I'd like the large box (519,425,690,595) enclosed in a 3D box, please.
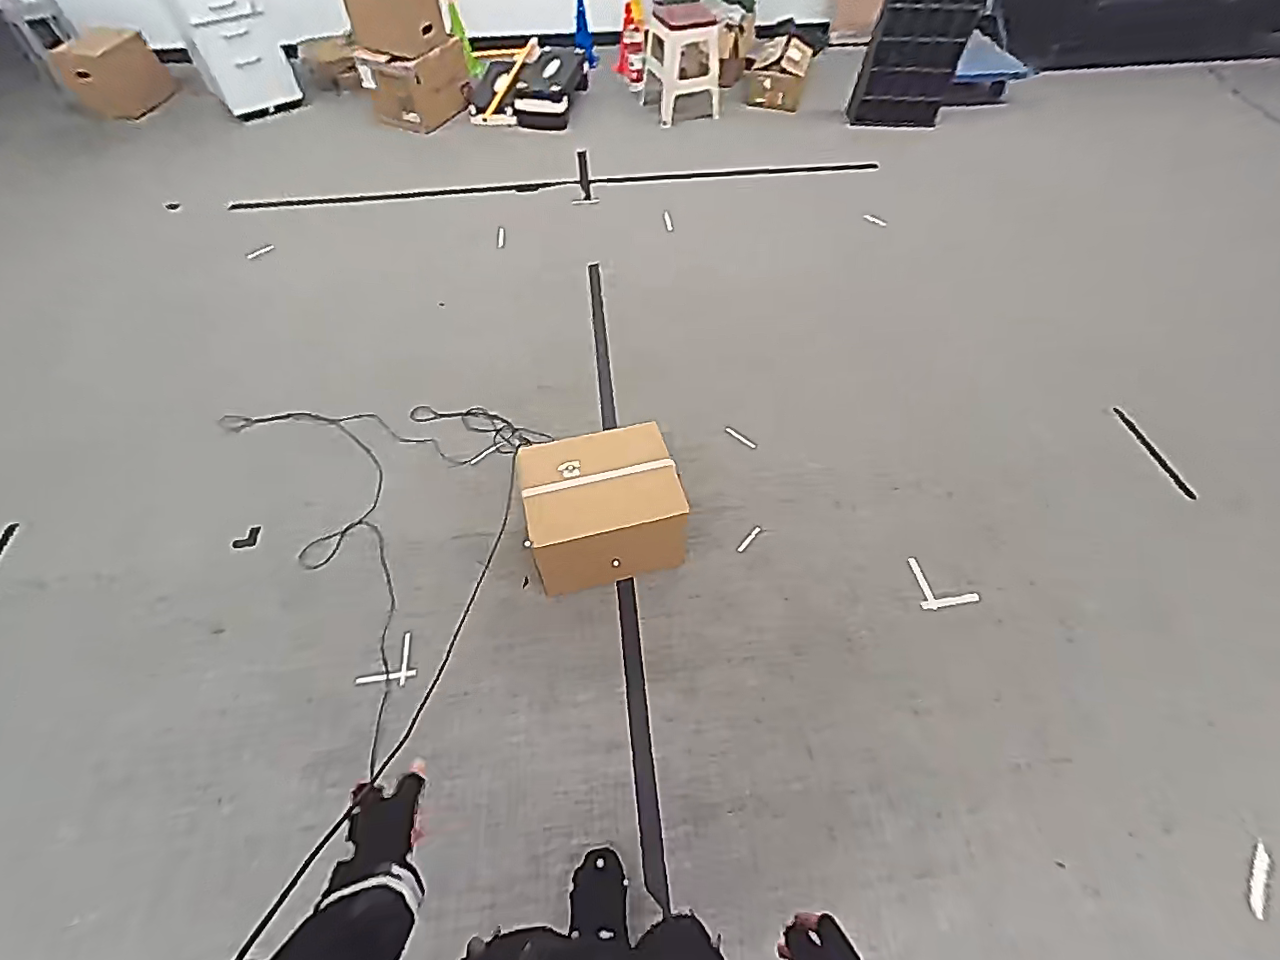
[{"bbox_3d":[-0.100,0.090,1.539,0.408,0.320,0.320,-12,56,-8],"label":"large box"}]
